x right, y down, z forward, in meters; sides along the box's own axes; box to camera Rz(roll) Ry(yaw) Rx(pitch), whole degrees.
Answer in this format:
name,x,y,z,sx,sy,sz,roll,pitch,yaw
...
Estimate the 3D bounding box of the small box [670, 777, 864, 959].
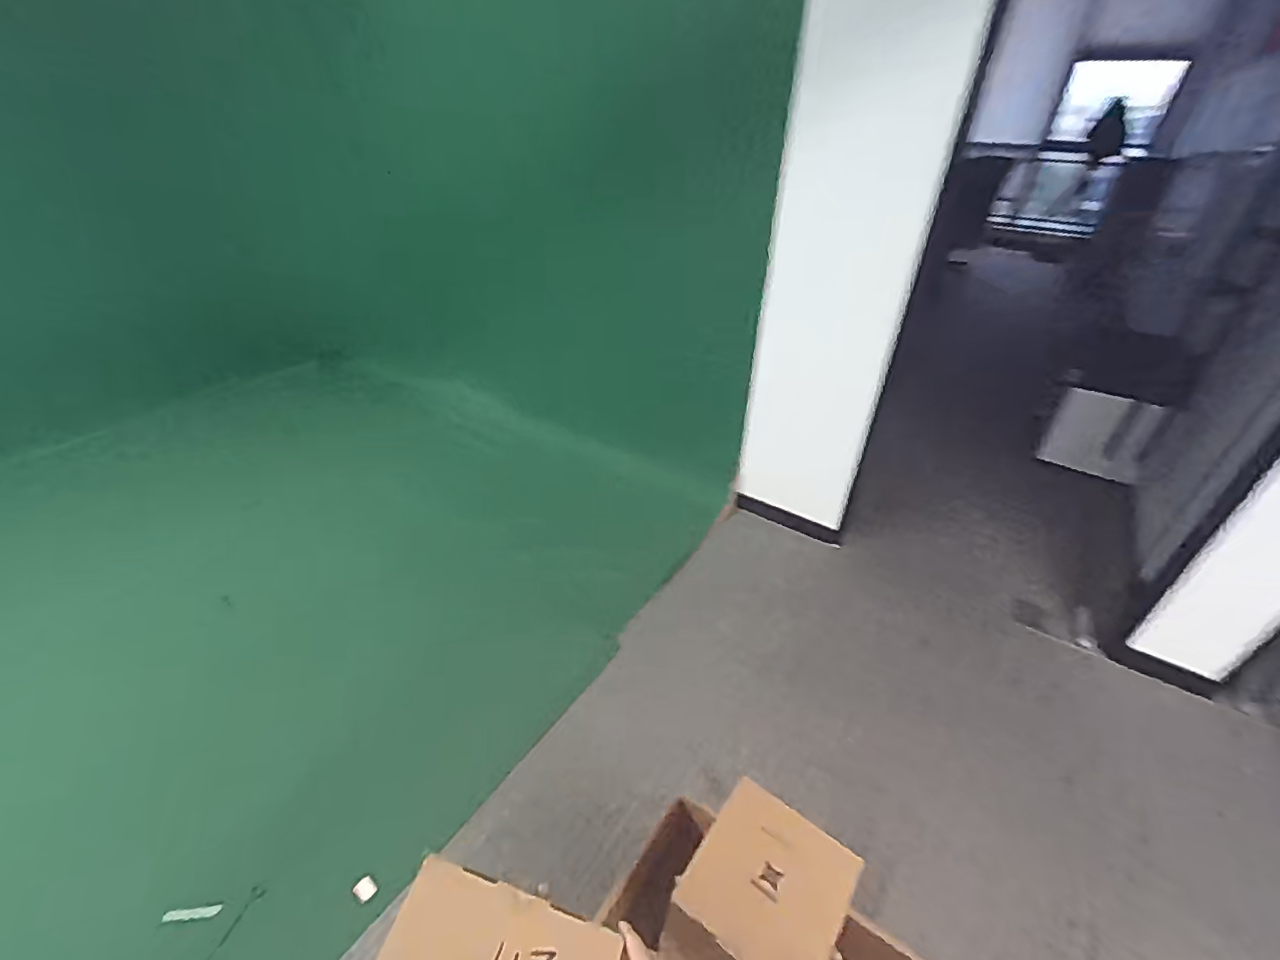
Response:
name,x,y,z,sx,sy,sz,roll,pitch,yaw
small box,0.150,0.529,0.675,0.168,0.176,0.179,27,43,29
